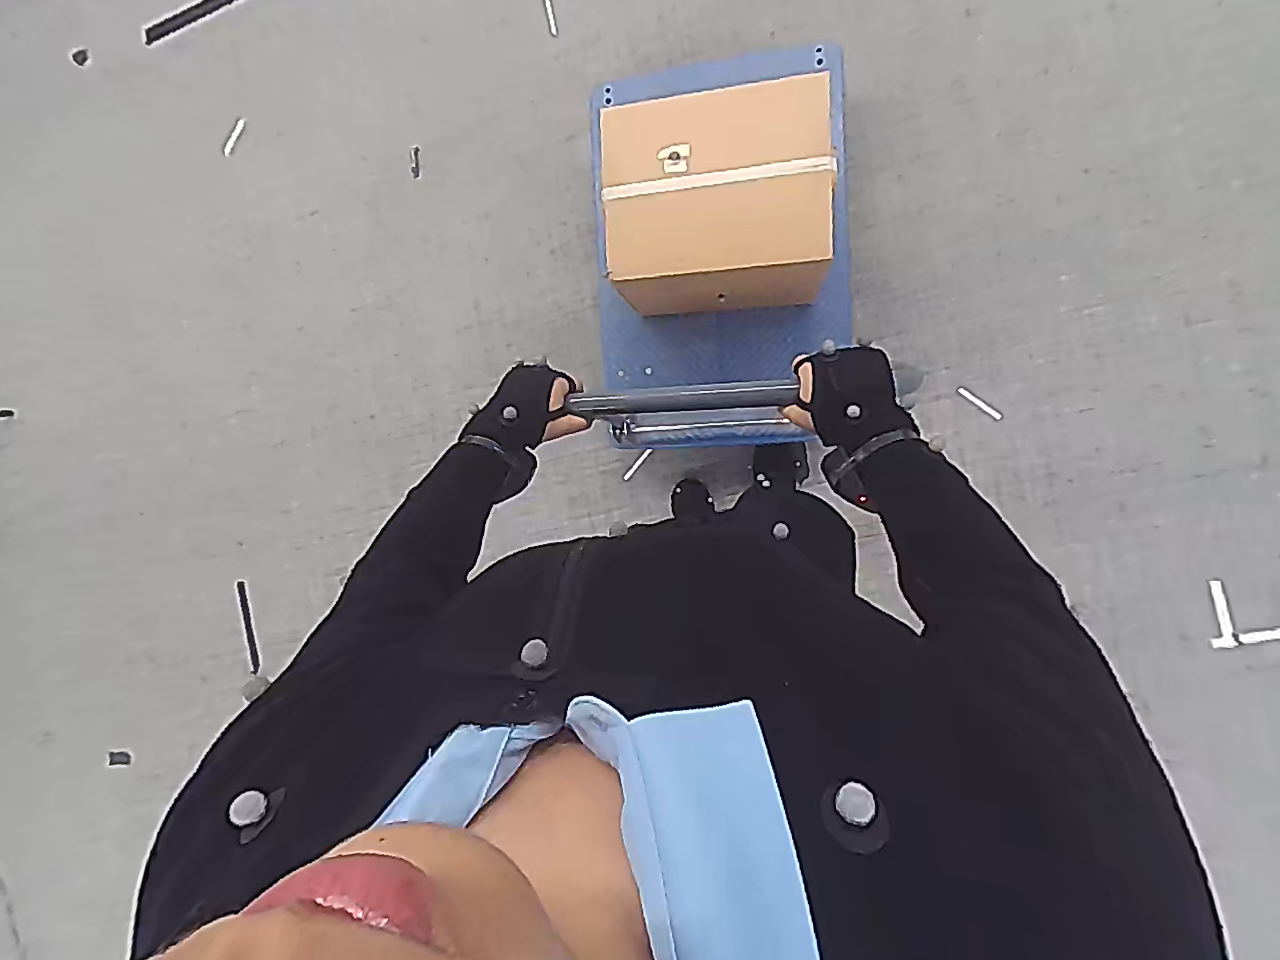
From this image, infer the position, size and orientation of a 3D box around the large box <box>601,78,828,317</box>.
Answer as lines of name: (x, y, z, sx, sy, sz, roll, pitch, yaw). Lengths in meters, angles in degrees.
large box: (0.161, -0.542, 1.122, 0.408, 0.320, 0.320, -2, 93, 13)
